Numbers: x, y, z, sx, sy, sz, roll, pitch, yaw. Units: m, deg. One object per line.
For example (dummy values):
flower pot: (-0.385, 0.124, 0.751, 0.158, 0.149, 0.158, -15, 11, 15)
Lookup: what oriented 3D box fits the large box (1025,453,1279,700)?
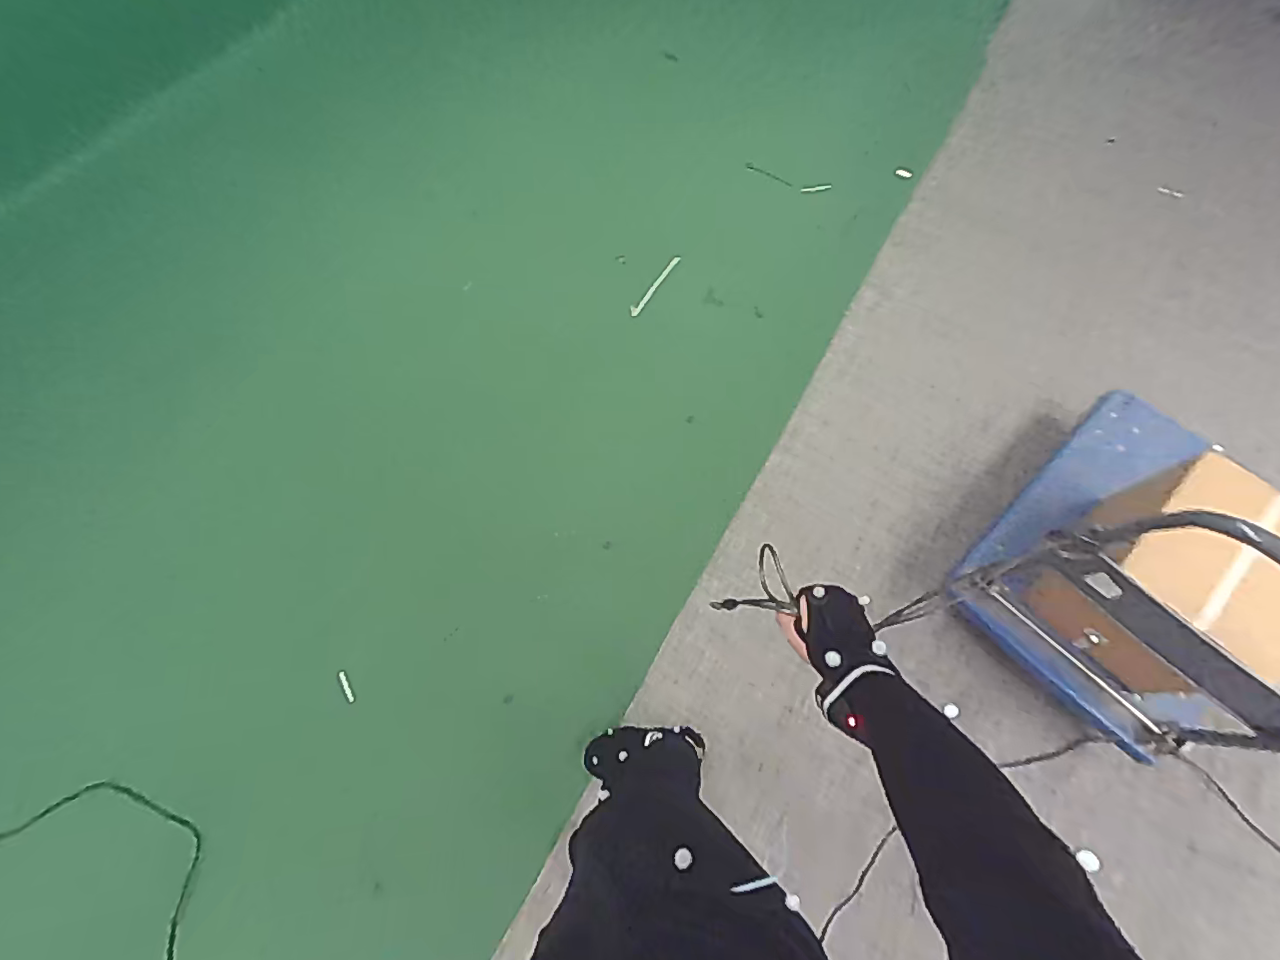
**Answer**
large box: (1.185, 0.226, 1.209, 0.408, 0.320, 0.320, -41, 72, -16)
